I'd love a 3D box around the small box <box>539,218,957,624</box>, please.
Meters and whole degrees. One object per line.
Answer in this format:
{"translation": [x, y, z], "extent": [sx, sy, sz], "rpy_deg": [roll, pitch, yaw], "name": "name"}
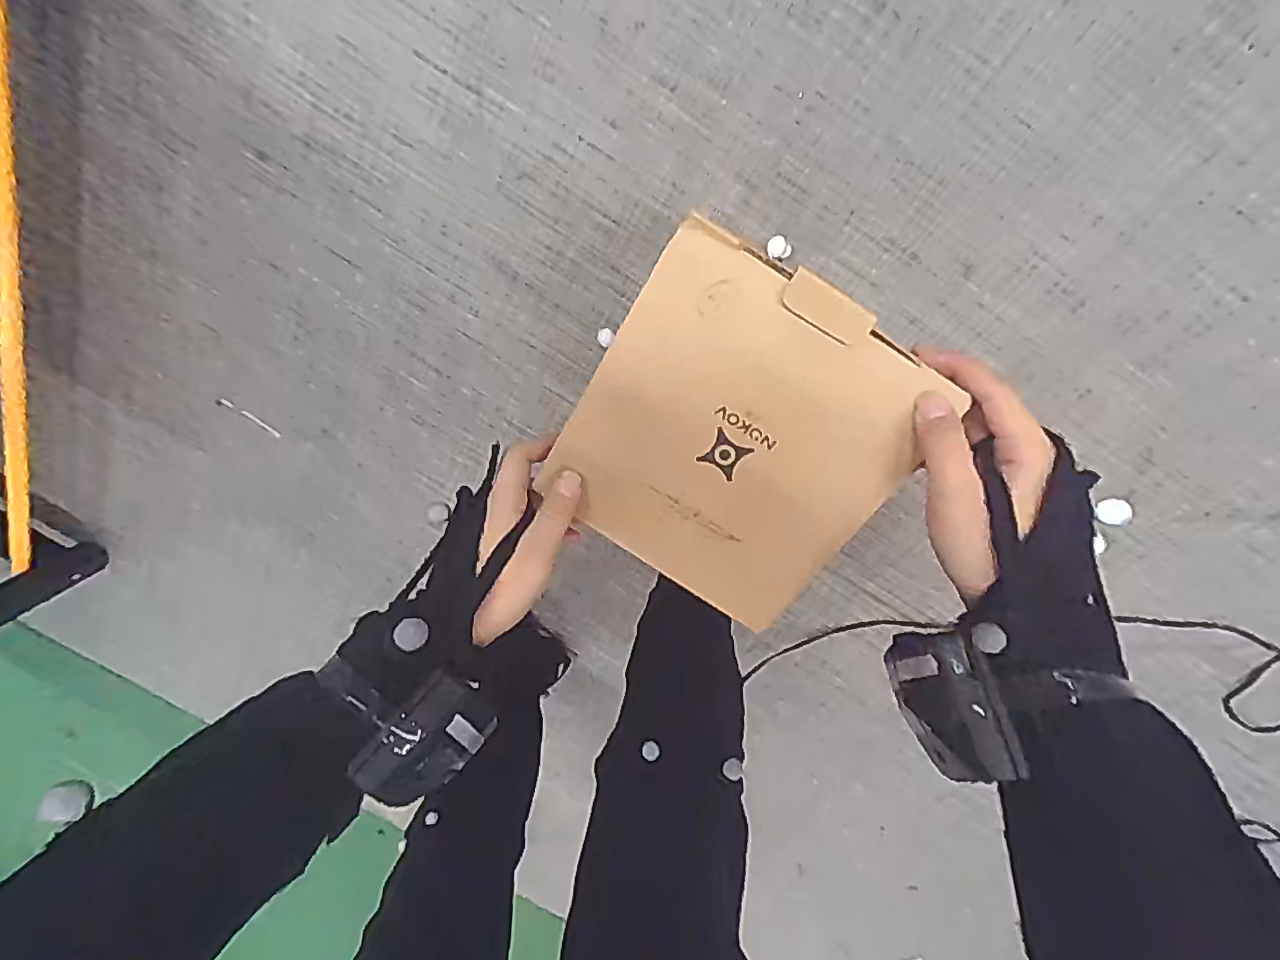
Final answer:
{"translation": [0.062, -0.047, 0.371], "extent": [0.168, 0.176, 0.179], "rpy_deg": [33, 113, -2], "name": "small box"}
